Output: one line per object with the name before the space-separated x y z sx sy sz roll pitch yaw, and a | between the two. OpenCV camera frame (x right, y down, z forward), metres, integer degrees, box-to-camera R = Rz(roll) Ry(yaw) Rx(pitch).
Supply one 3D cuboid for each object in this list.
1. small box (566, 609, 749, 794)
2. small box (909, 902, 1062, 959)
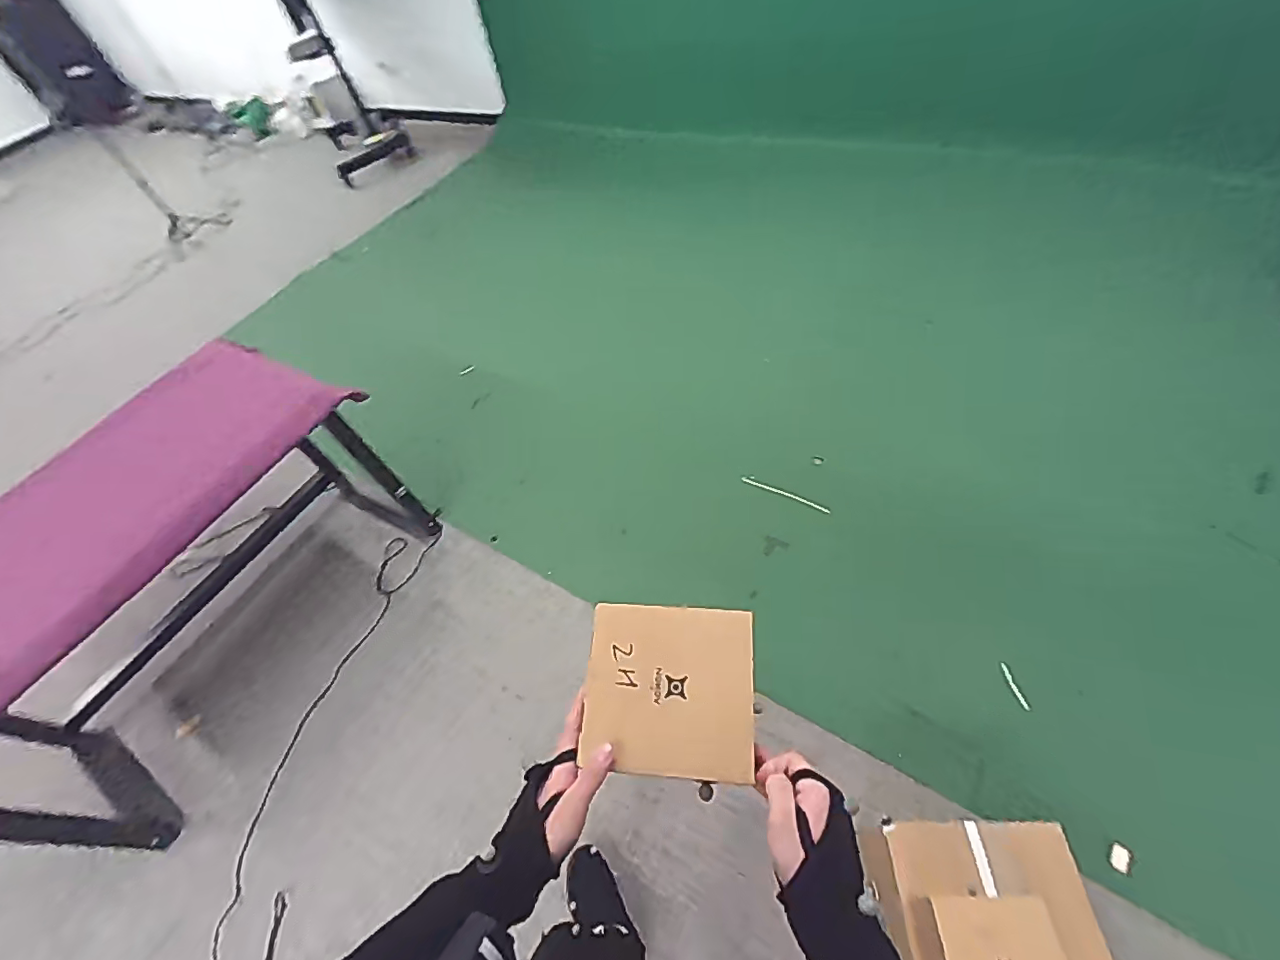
small box | 0.028 0.254 0.617 0.179 0.176 0.168 1 61 8
small box | 0.534 0.762 0.827 0.168 0.176 0.179 -5 52 8
